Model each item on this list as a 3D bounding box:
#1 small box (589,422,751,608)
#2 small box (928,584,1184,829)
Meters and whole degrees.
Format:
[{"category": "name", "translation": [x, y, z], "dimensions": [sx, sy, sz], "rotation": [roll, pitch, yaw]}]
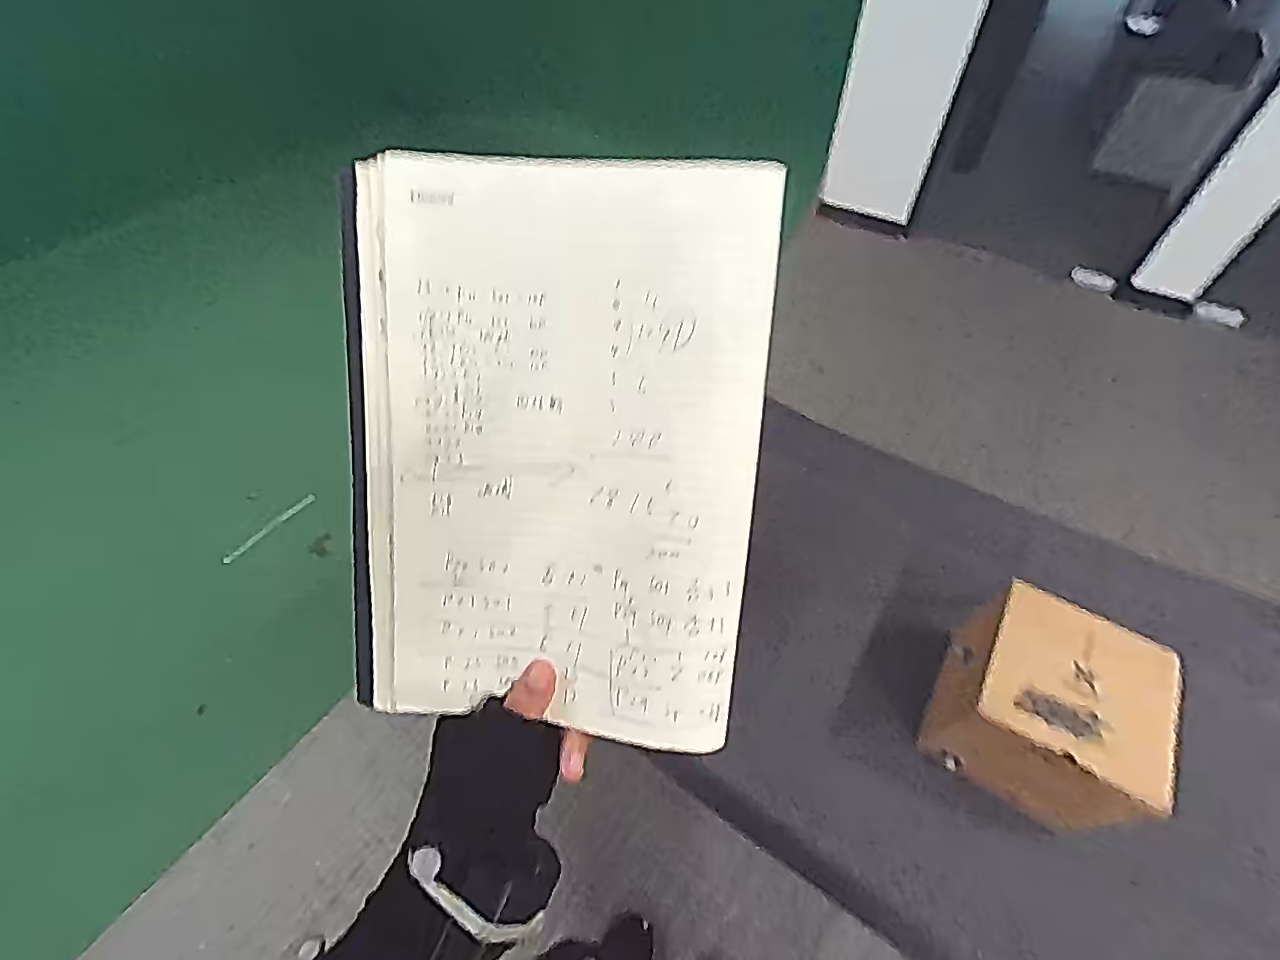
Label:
[{"category": "small box", "translation": [0.043, 0.052, 0.794], "dimensions": [0.168, 0.176, 0.179], "rotation": [24, 56, 20]}, {"category": "small box", "translation": [0.458, 0.261, 0.617], "dimensions": [0.168, 0.176, 0.179], "rotation": [28, 56, 21]}]
